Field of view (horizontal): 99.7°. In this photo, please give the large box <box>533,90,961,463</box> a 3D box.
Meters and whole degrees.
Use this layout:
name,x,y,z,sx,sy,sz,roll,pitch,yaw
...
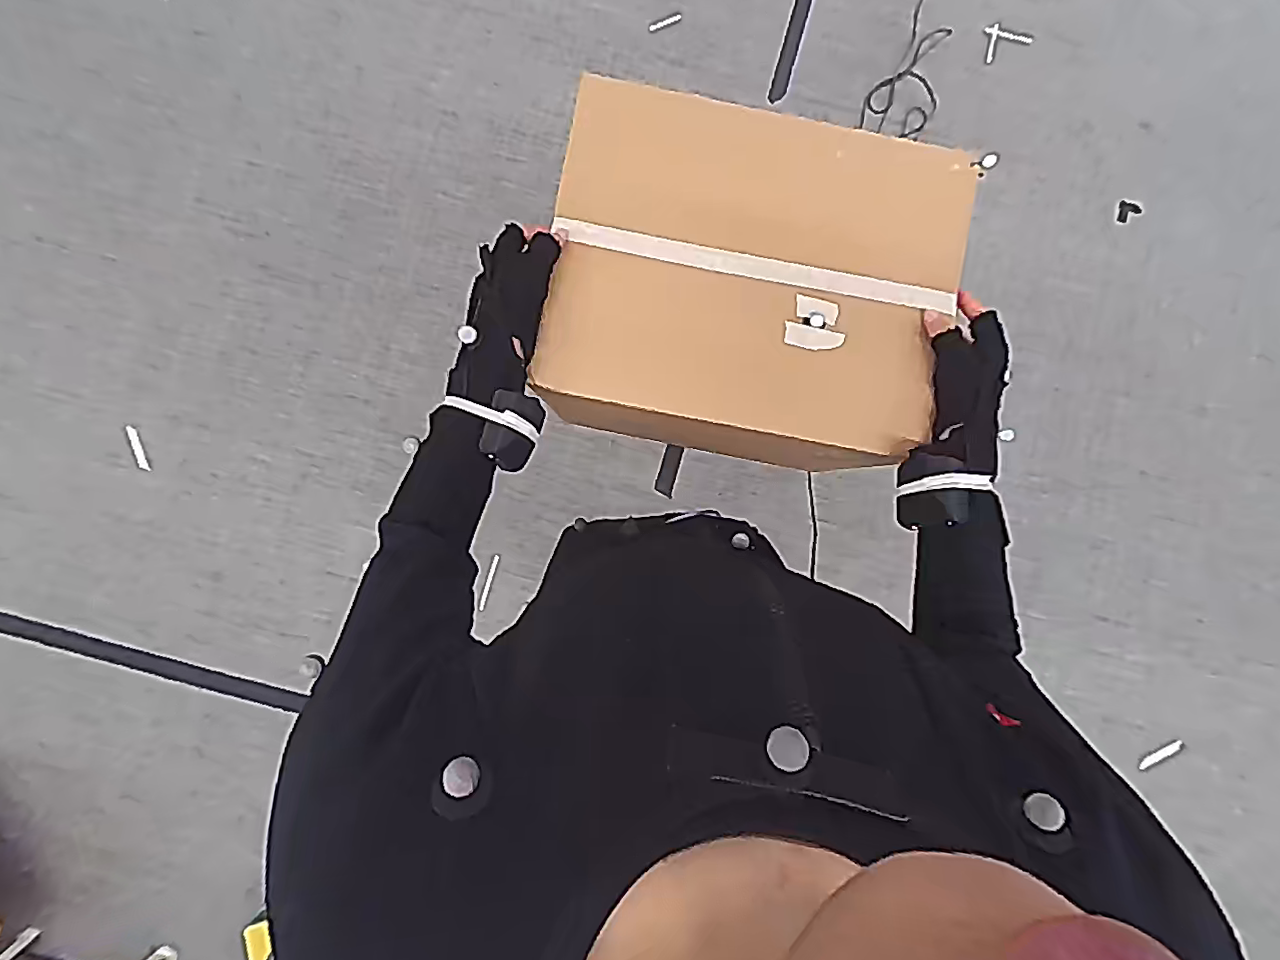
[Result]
name,x,y,z,sx,sy,sz,roll,pitch,yaw
large box,0.105,-0.211,0.698,0.408,0.320,0.320,11,90,-2
